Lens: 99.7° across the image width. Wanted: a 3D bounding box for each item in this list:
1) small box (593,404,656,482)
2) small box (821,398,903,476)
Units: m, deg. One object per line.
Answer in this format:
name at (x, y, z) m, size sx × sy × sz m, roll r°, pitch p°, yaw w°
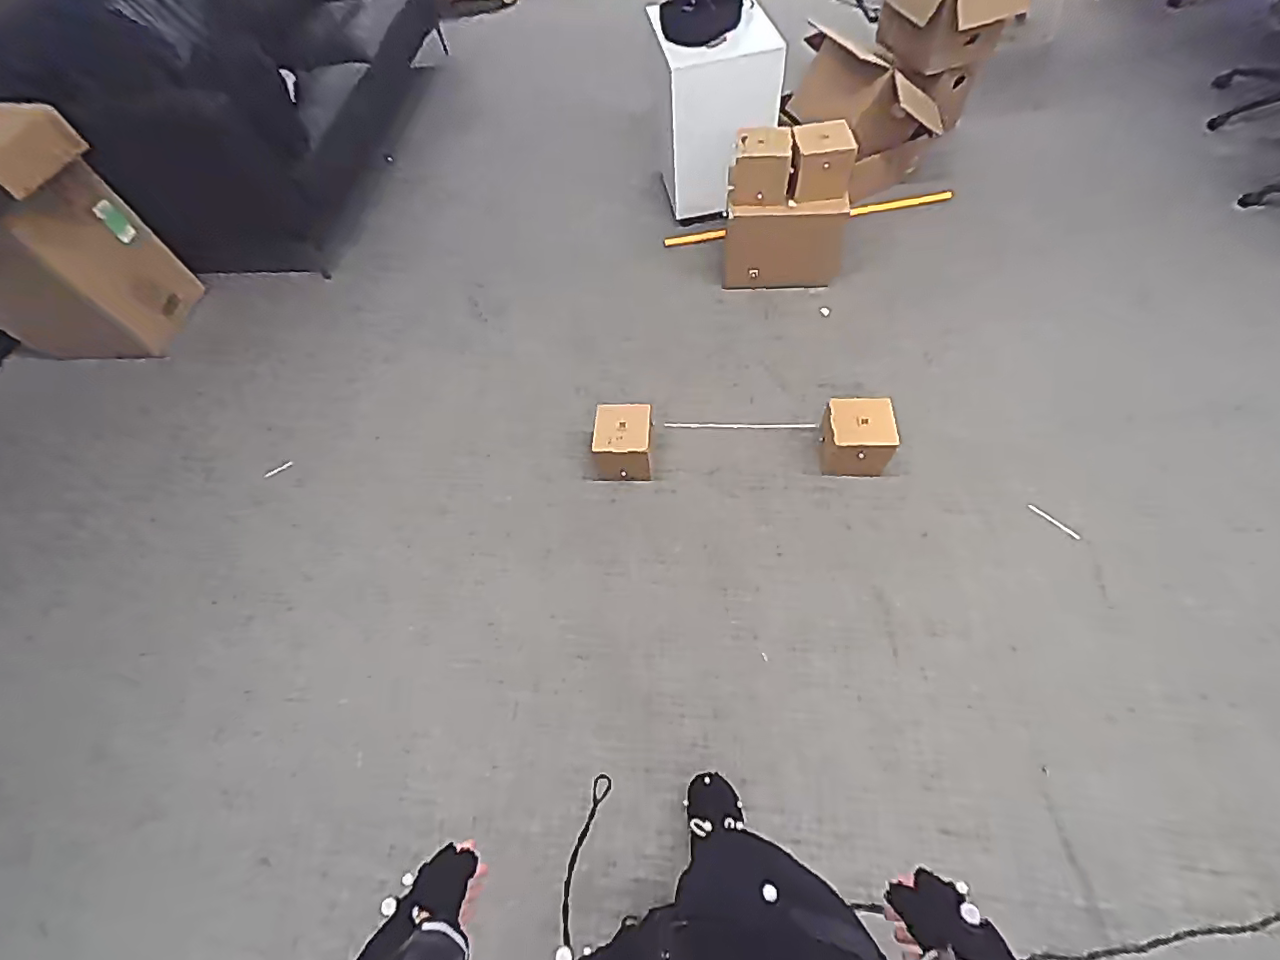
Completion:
small box at (-0.041, -0.113, 1.653) m, size 0.168 × 0.176 × 0.179 m, roll 0°, pitch 60°, yaw 7°
small box at (0.640, -0.122, 1.581) m, size 0.179 × 0.176 × 0.168 m, roll 0°, pitch 60°, yaw 7°
